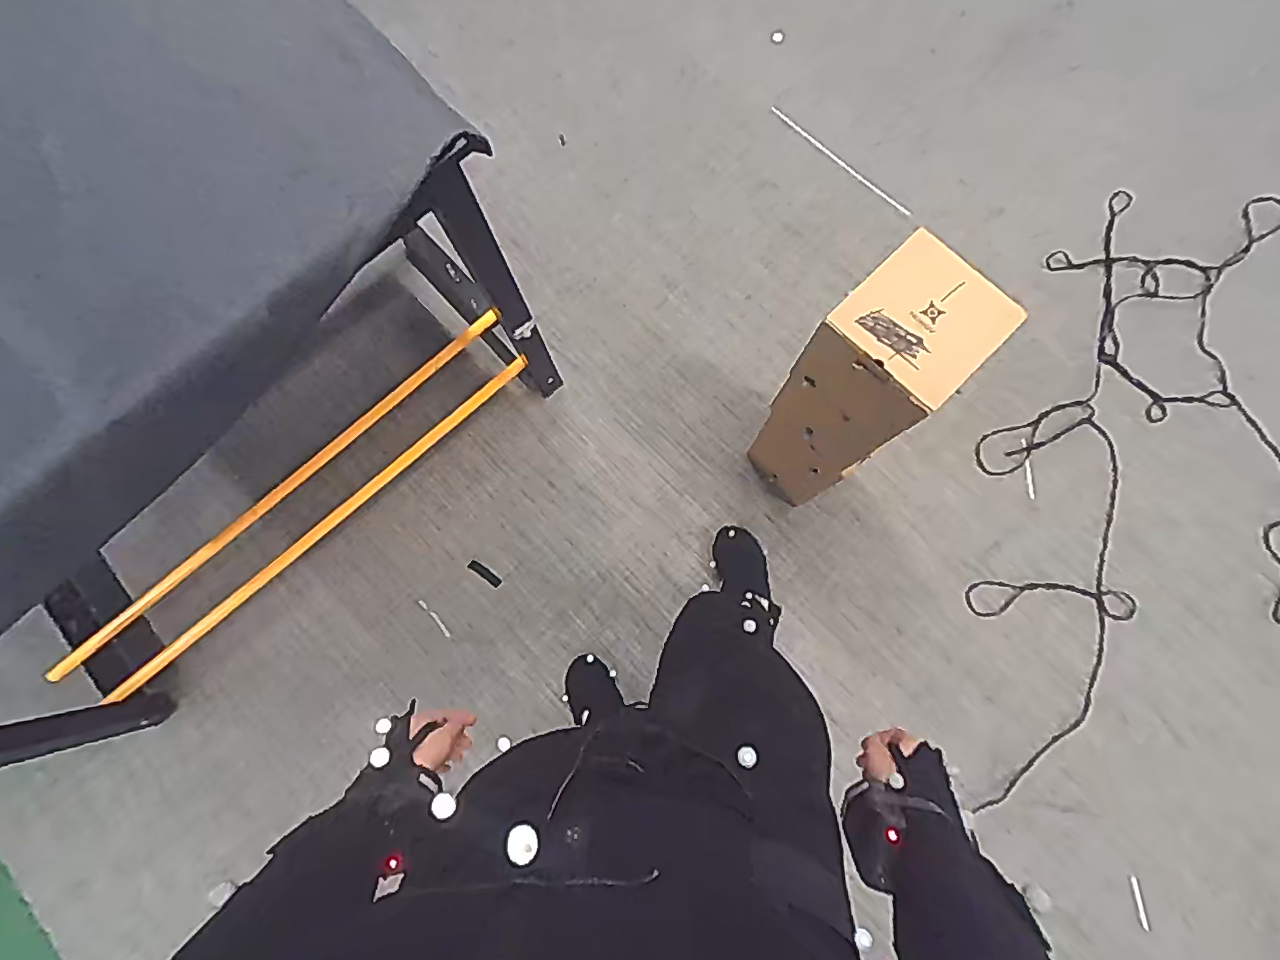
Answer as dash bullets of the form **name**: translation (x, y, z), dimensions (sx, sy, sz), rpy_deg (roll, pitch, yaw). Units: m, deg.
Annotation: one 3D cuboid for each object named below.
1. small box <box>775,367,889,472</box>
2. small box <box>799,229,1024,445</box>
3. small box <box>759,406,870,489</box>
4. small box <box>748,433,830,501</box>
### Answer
- **small box**: translation (0.343, -0.138, 0.865), dimensions (0.179, 0.176, 0.168), rpy_deg (-41, 80, -6)
- **small box**: translation (0.331, -0.171, 0.704), dimensions (0.179, 0.176, 0.168), rpy_deg (-43, 81, -8)
- **small box**: translation (0.353, -0.100, 1.025), dimensions (0.168, 0.176, 0.179), rpy_deg (-43, 79, -7)
- **small box**: translation (0.363, -0.069, 1.183), dimensions (0.168, 0.176, 0.179), rpy_deg (-40, 81, -7)
